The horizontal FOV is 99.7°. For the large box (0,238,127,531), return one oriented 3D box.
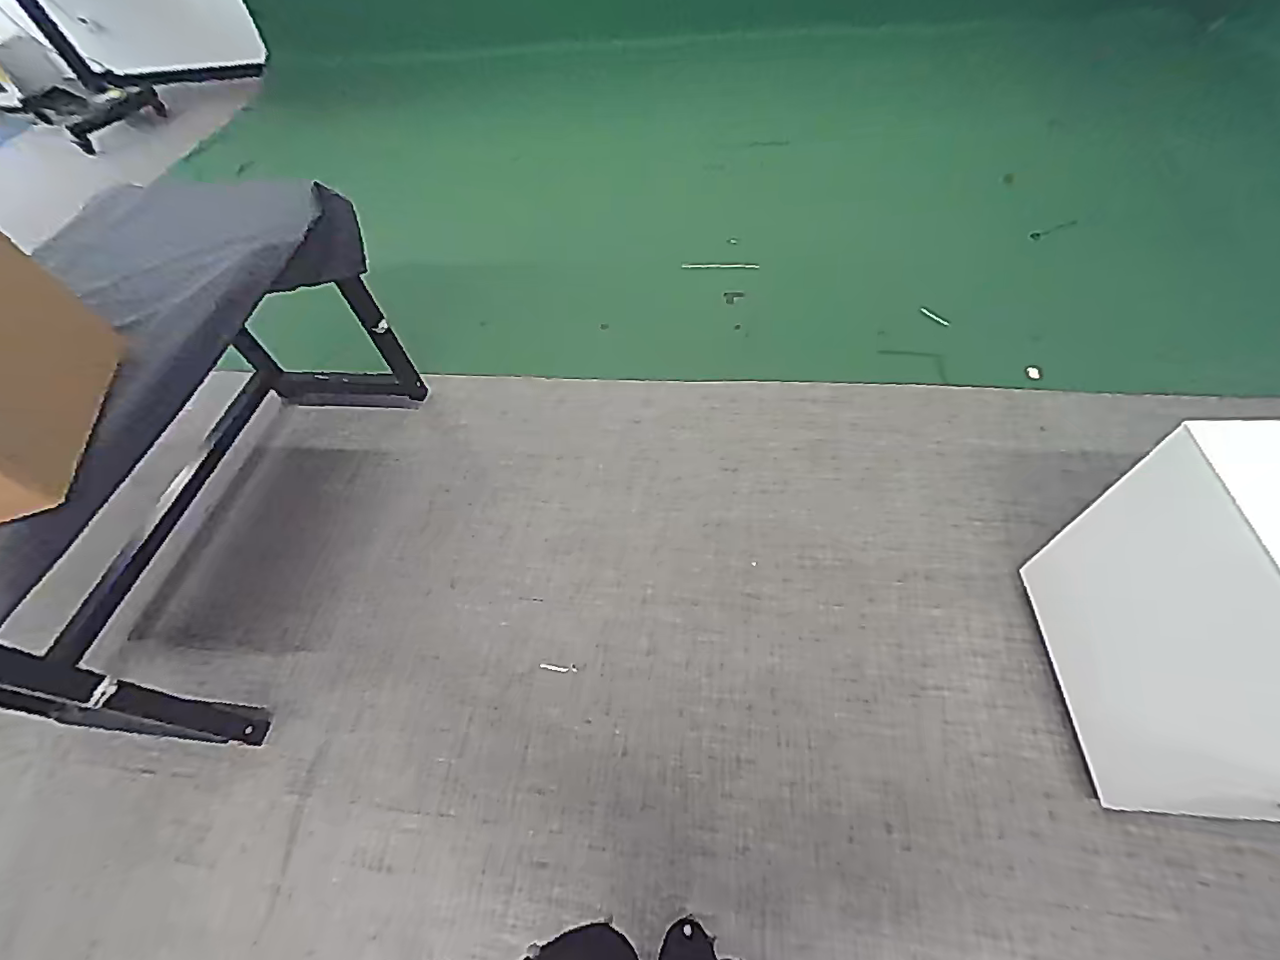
[{"bbox_3d":[-1.073,-0.139,0.789,0.320,0.320,0.408,-19,53,-7],"label":"large box"}]
